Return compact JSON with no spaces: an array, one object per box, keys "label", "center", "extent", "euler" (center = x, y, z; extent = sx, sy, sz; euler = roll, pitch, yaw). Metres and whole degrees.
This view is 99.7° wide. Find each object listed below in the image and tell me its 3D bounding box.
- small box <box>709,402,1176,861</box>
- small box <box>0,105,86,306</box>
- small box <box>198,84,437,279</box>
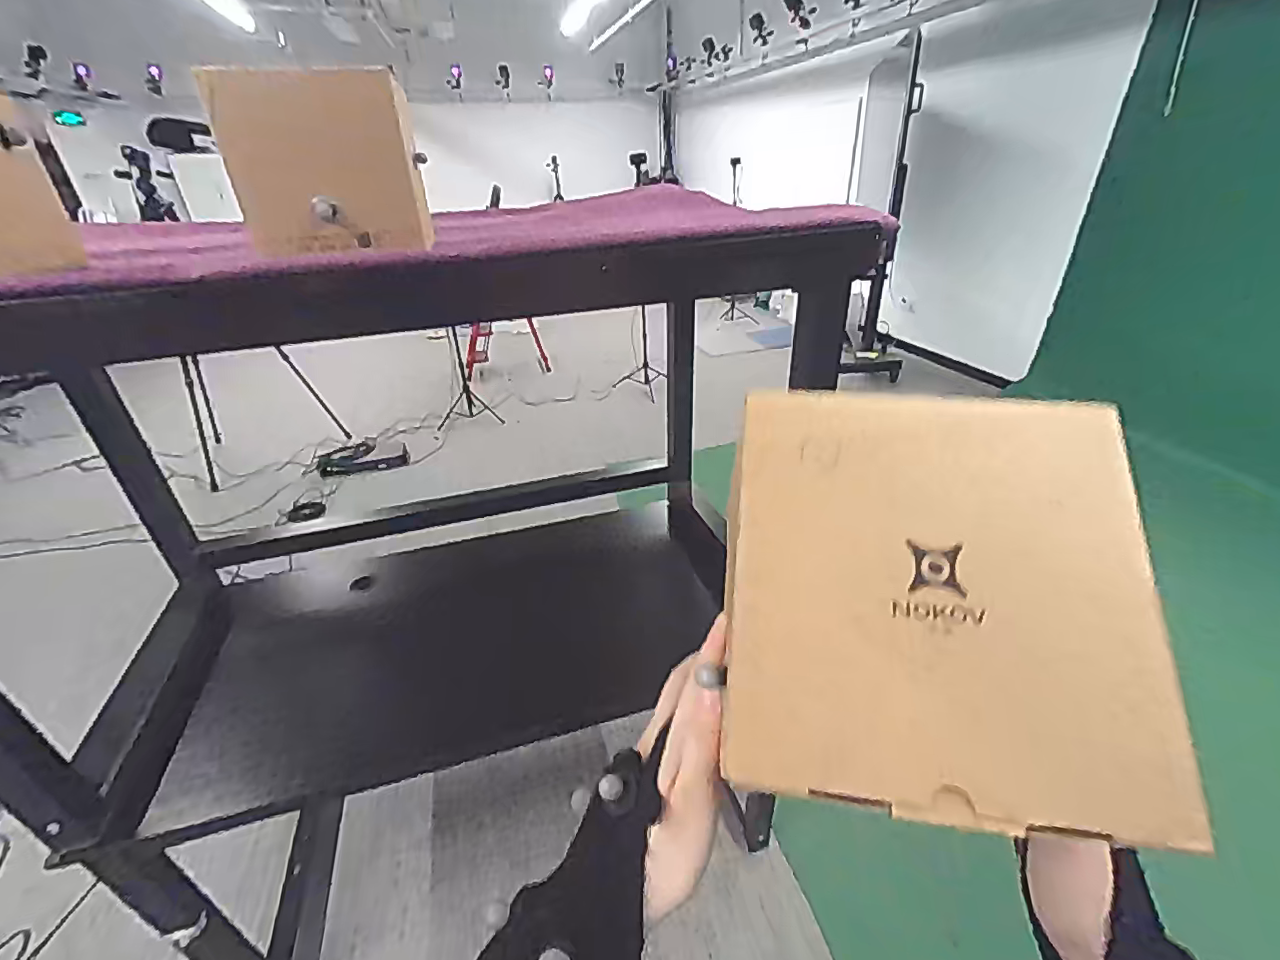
[{"label":"small box","center":[0.128,0.076,0.305],"extent":[0.168,0.176,0.179],"euler":[4,70,8]},{"label":"small box","center":[-0.683,-0.254,0.500],"extent":[0.168,0.176,0.179],"euler":[-10,30,-13]},{"label":"small box","center":[-0.331,-0.327,0.600],"extent":[0.168,0.176,0.179],"euler":[-10,33,-12]}]
